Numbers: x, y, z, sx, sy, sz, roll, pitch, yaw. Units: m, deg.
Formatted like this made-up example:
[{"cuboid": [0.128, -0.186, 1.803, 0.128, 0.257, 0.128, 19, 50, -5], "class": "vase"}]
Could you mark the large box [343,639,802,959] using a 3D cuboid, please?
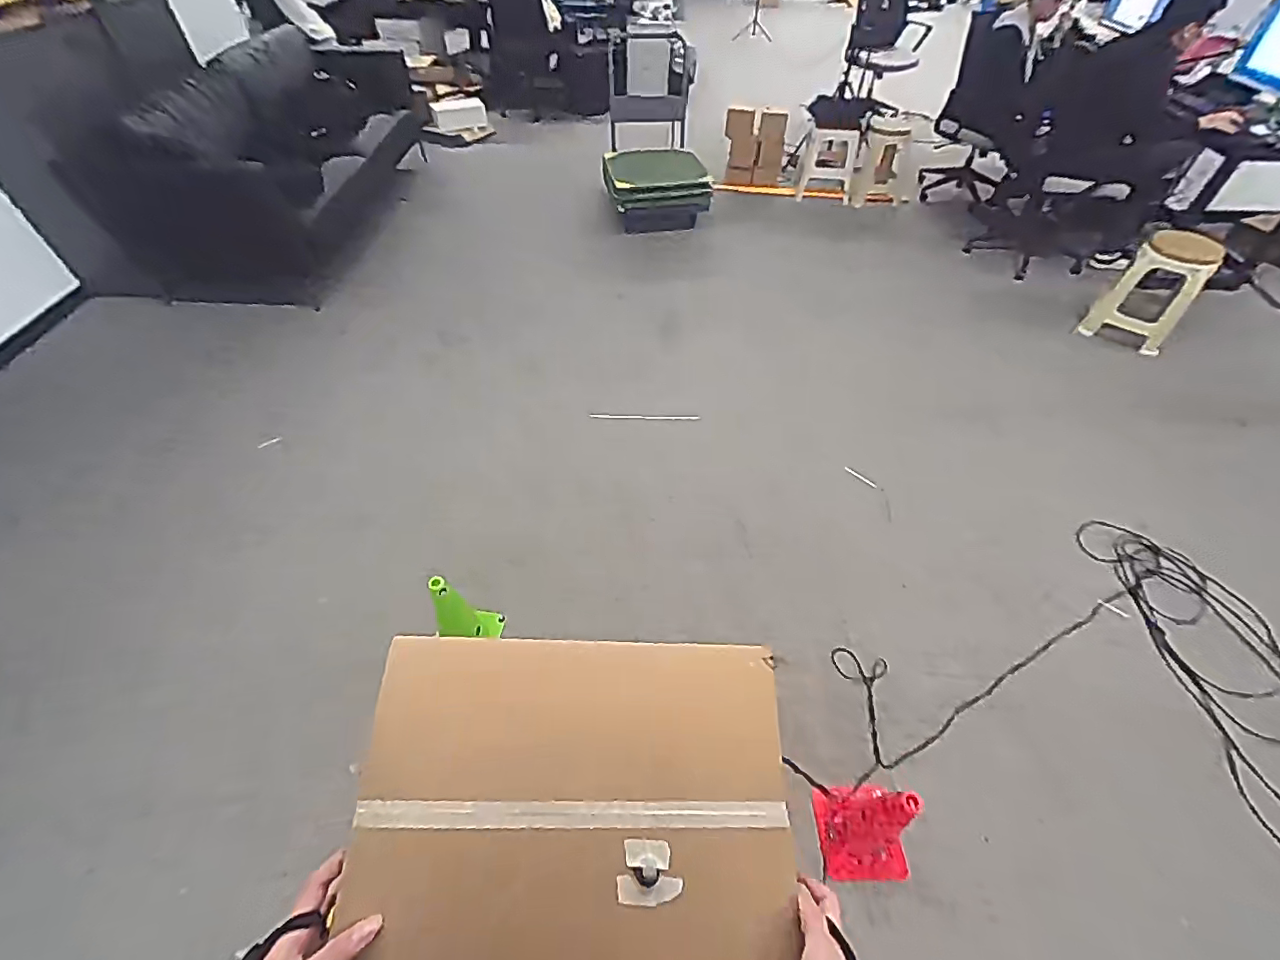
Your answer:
[{"cuboid": [-0.071, 0.381, 0.650, 0.408, 0.320, 0.320, 3, 63, -5], "class": "large box"}]

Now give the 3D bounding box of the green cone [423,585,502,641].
[{"cuboid": [-0.545, 0.397, 1.537, 0.200, 0.368, 0.202, 6, 51, 5], "class": "green cone"}]
